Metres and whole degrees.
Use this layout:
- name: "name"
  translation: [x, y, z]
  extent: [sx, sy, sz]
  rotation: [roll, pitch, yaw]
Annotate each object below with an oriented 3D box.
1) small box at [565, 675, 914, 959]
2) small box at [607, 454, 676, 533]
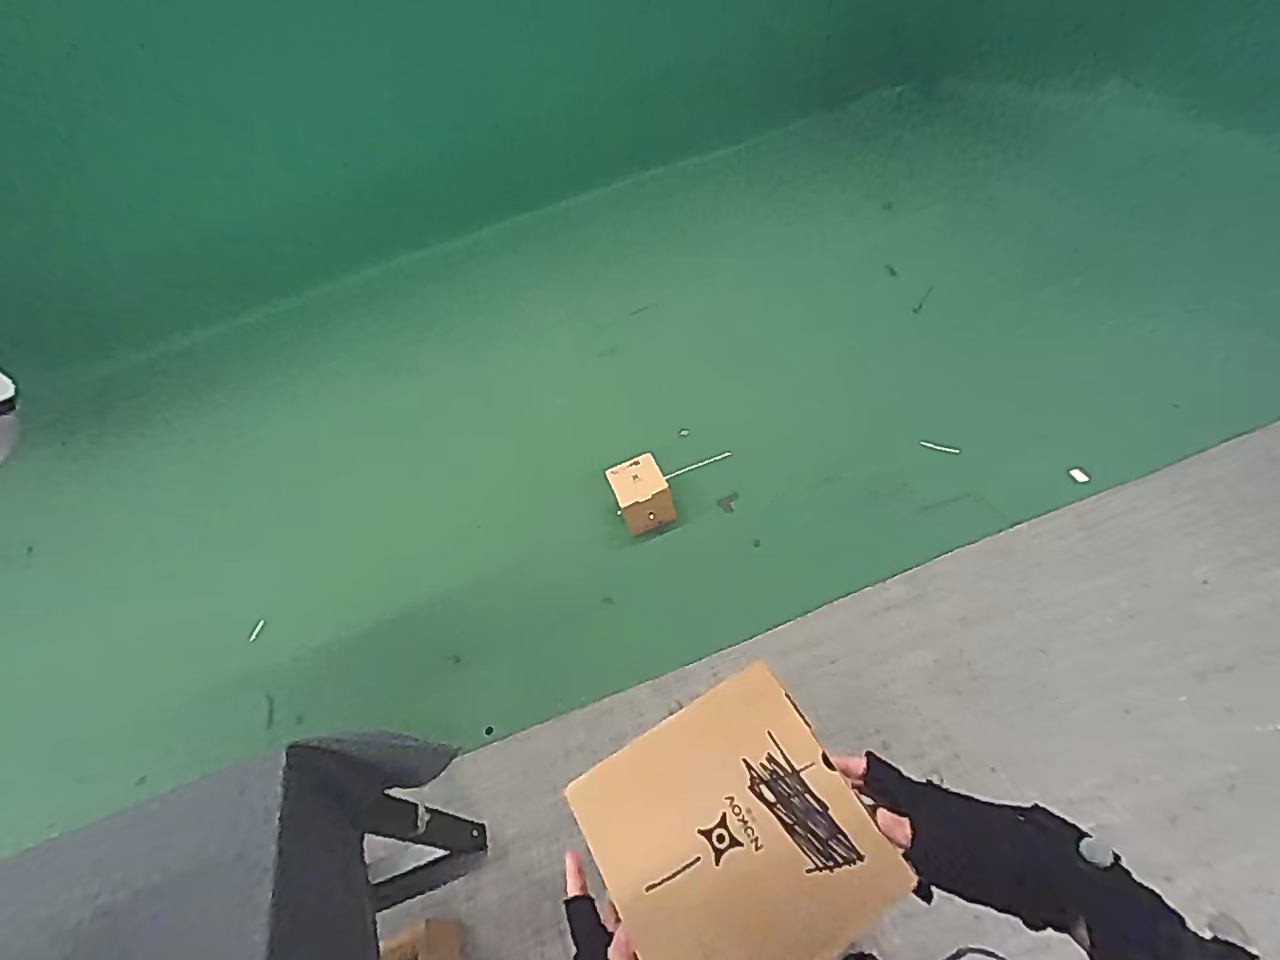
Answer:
- name: "small box"
  translation: [0.063, 0.284, 0.423]
  extent: [0.179, 0.176, 0.168]
  rotation: [-27, 60, -13]
- name: "small box"
  translation: [0.007, 0.053, 1.793]
  extent: [0.168, 0.176, 0.179]
  rotation: [-22, 51, -3]
